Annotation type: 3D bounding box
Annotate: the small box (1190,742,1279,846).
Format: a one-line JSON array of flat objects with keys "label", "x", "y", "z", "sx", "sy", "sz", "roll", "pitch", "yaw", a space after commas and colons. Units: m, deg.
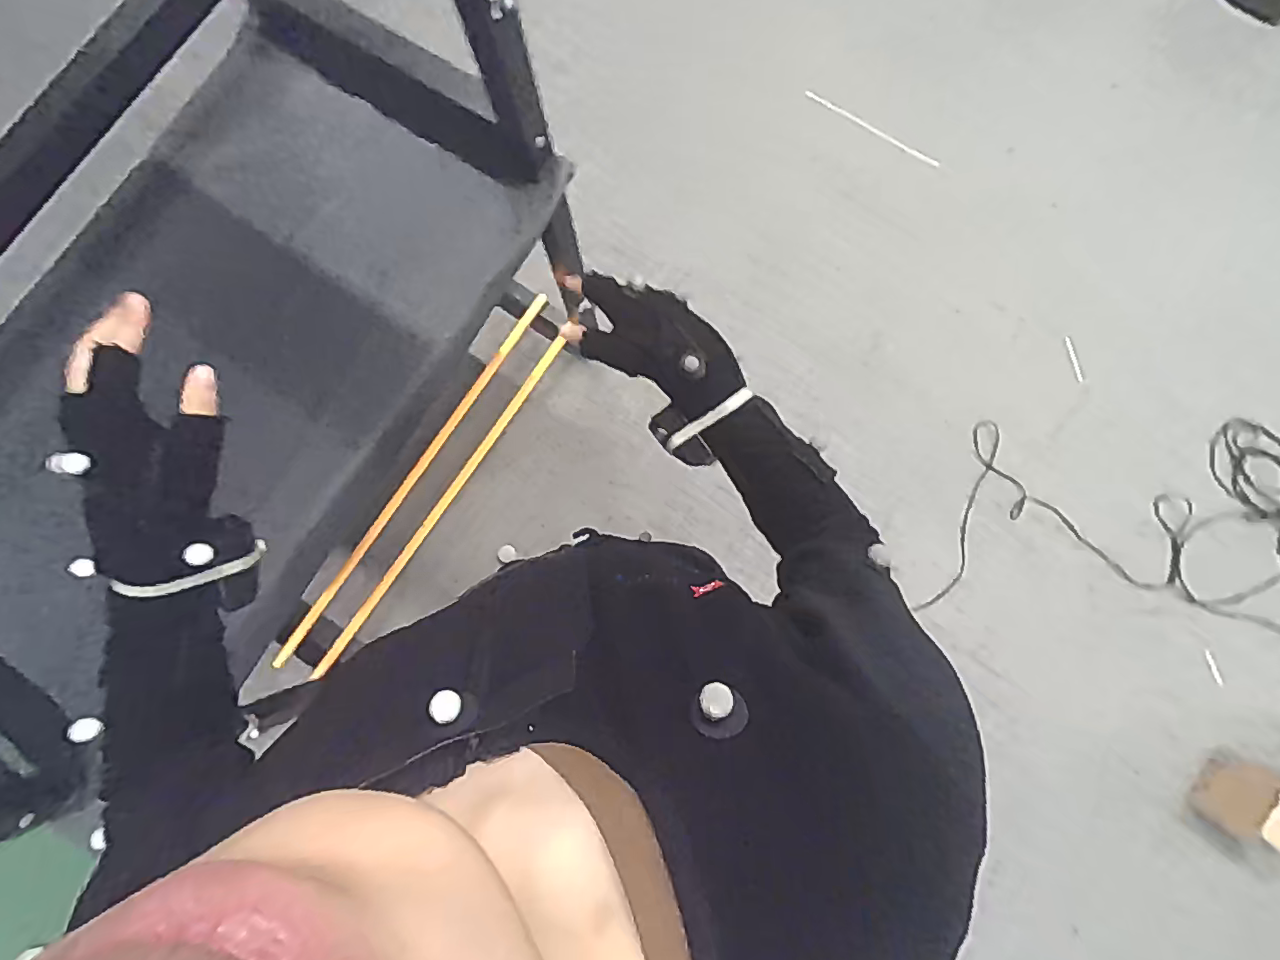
[{"label": "small box", "x": 1.505, "y": 0.762, "z": 1.297, "sx": 0.179, "sy": 0.176, "sz": 0.168, "roll": 36, "pitch": 85, "yaw": 6}]
